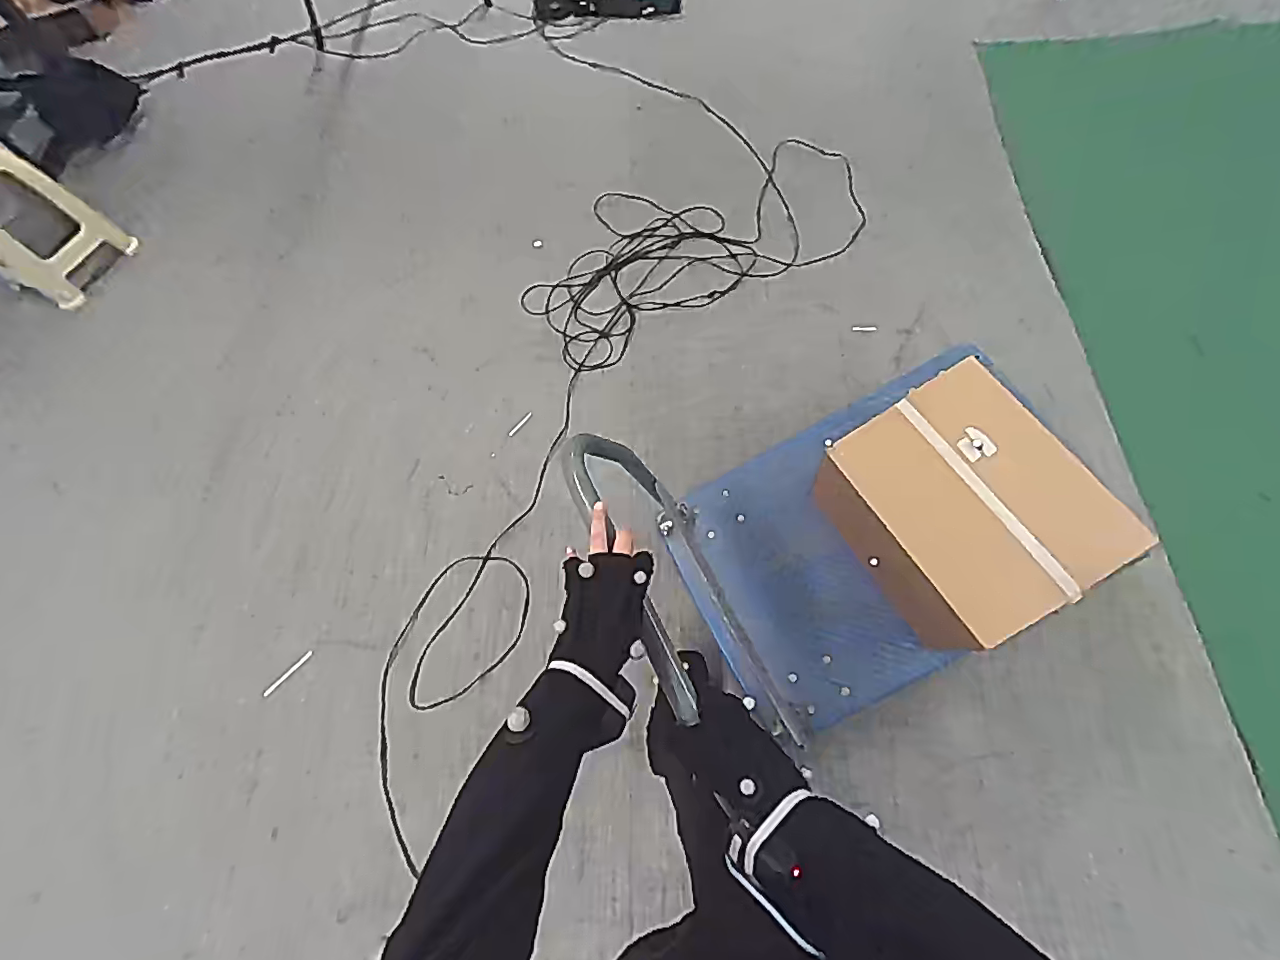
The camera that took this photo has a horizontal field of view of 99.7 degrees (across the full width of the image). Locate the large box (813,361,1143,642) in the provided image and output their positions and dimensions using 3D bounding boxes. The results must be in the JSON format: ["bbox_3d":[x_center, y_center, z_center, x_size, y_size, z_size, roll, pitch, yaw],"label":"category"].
[{"bbox_3d":[0.593,0.060,1.053,0.320,0.320,0.408,-33,69,1],"label":"large box"}]
